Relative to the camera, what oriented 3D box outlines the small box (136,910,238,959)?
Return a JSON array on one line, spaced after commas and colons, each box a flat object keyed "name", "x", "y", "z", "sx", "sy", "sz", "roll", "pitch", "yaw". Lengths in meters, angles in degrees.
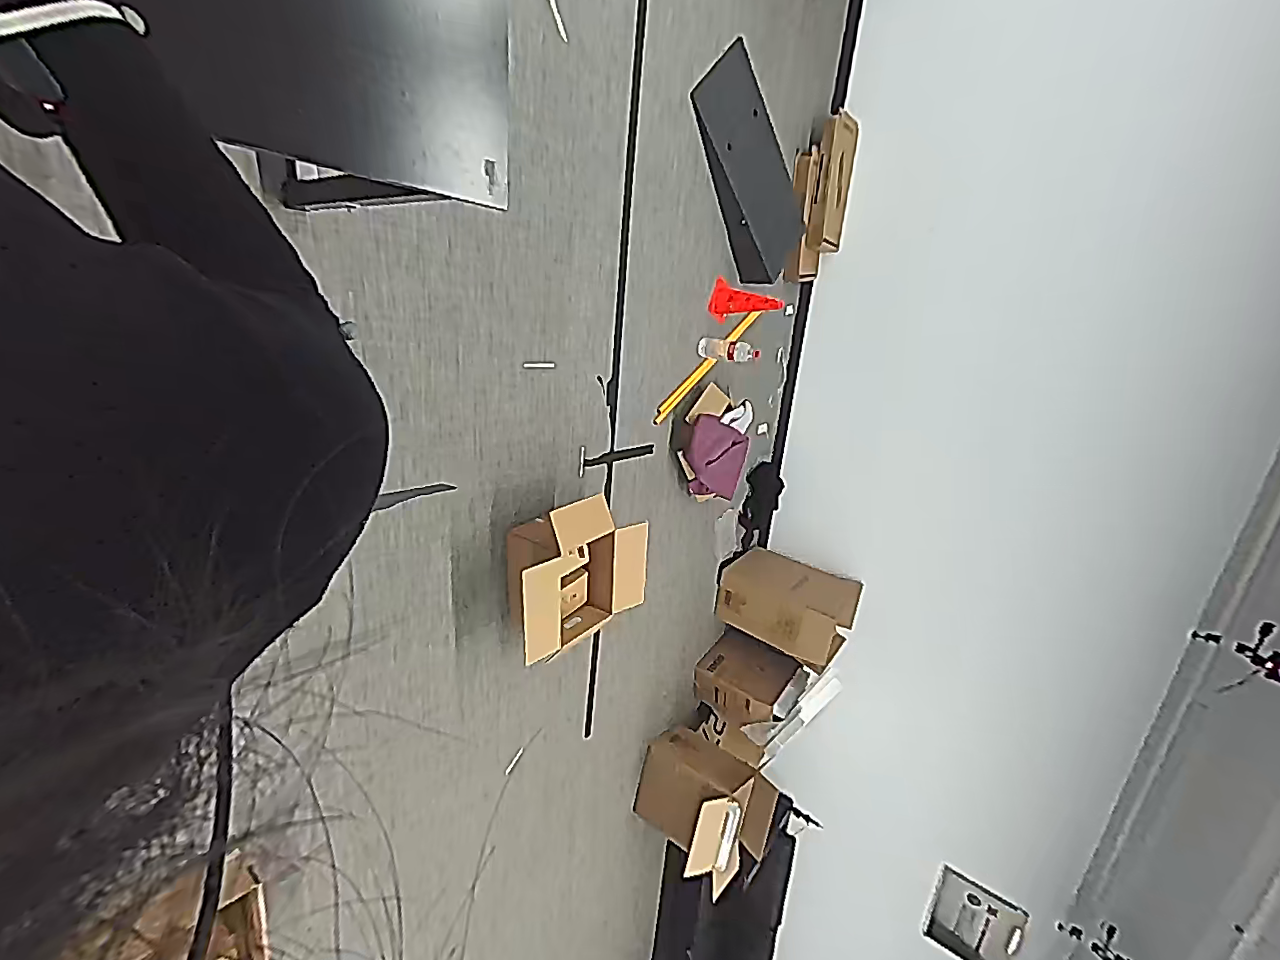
[{"name": "small box", "x": -1.176, "y": 1.290, "z": 1.407, "sx": 0.179, "sy": 0.176, "sz": 0.168, "roll": -13, "pitch": 113, "yaw": -50}]
